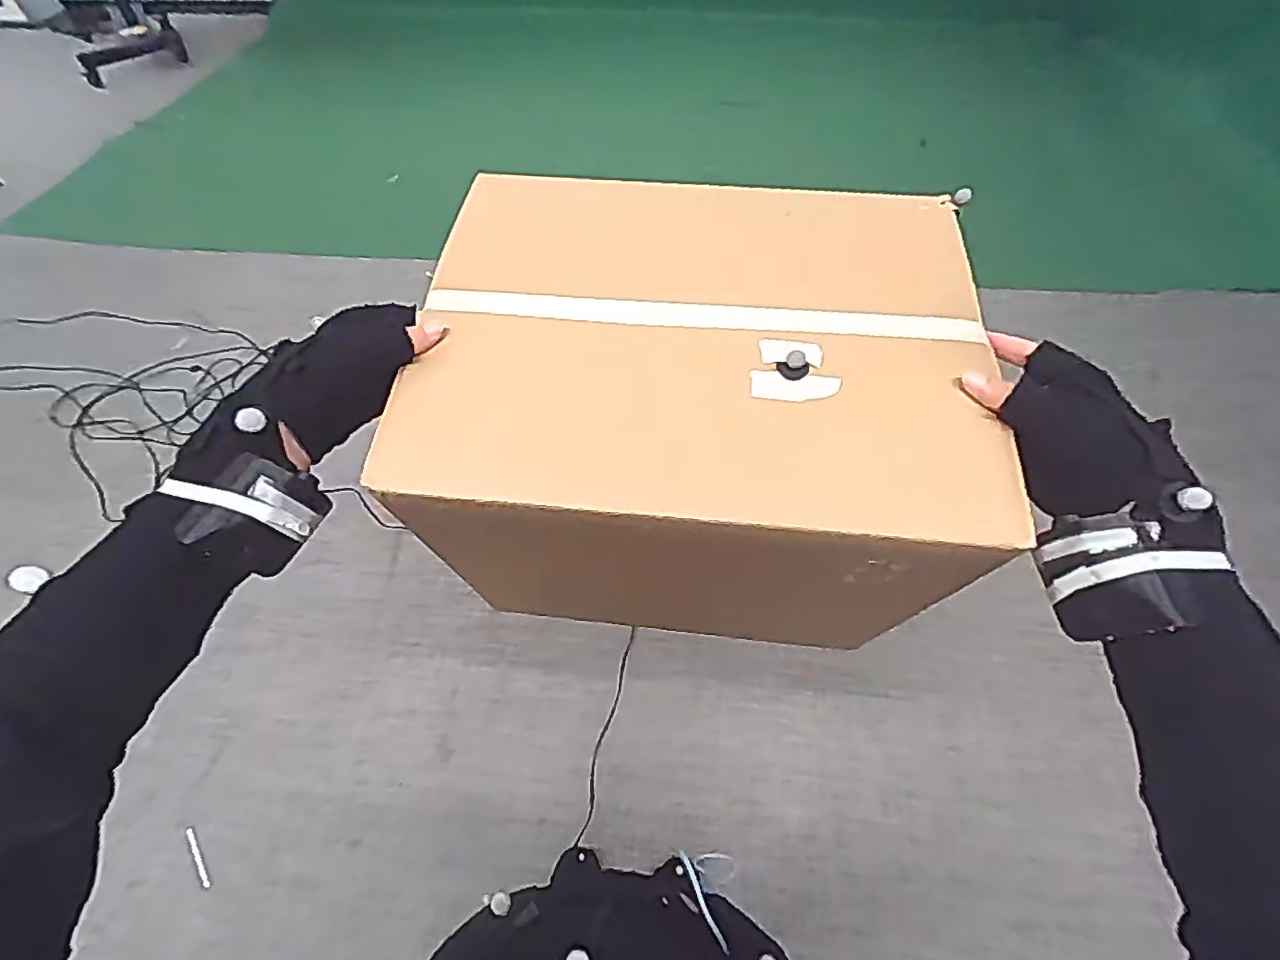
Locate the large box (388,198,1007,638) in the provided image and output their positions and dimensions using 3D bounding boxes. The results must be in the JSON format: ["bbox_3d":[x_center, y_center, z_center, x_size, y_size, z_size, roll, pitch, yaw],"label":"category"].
[{"bbox_3d":[0.045,-0.041,0.541,0.408,0.320,0.320,4,63,4],"label":"large box"}]
